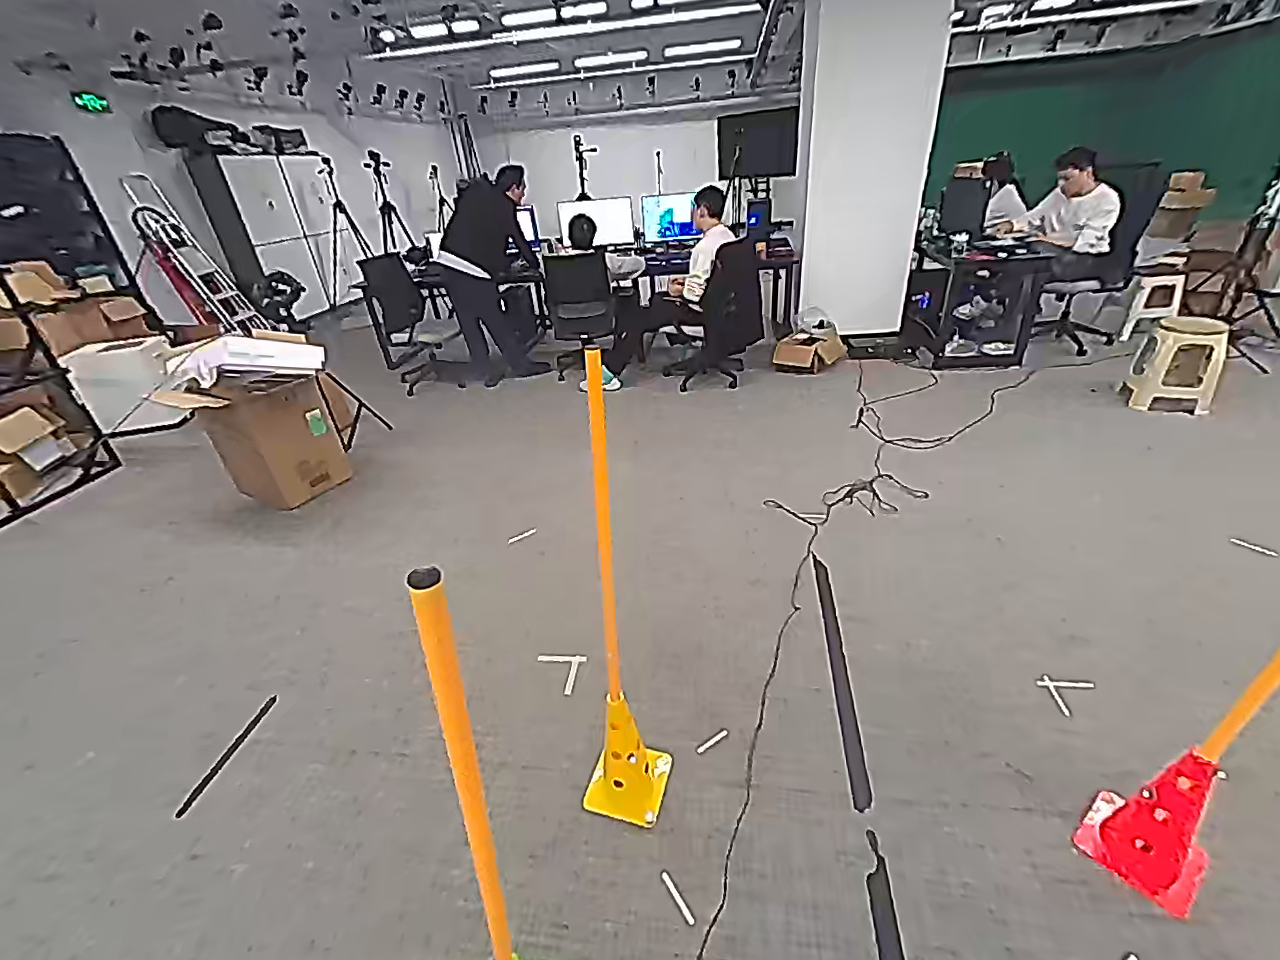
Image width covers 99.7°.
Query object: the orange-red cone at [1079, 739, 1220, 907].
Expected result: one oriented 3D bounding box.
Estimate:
[{"bbox_3d":[1.119,0.671,1.133,0.199,0.360,0.198,-25,34,-27],"label":"orange-red cone"}]
